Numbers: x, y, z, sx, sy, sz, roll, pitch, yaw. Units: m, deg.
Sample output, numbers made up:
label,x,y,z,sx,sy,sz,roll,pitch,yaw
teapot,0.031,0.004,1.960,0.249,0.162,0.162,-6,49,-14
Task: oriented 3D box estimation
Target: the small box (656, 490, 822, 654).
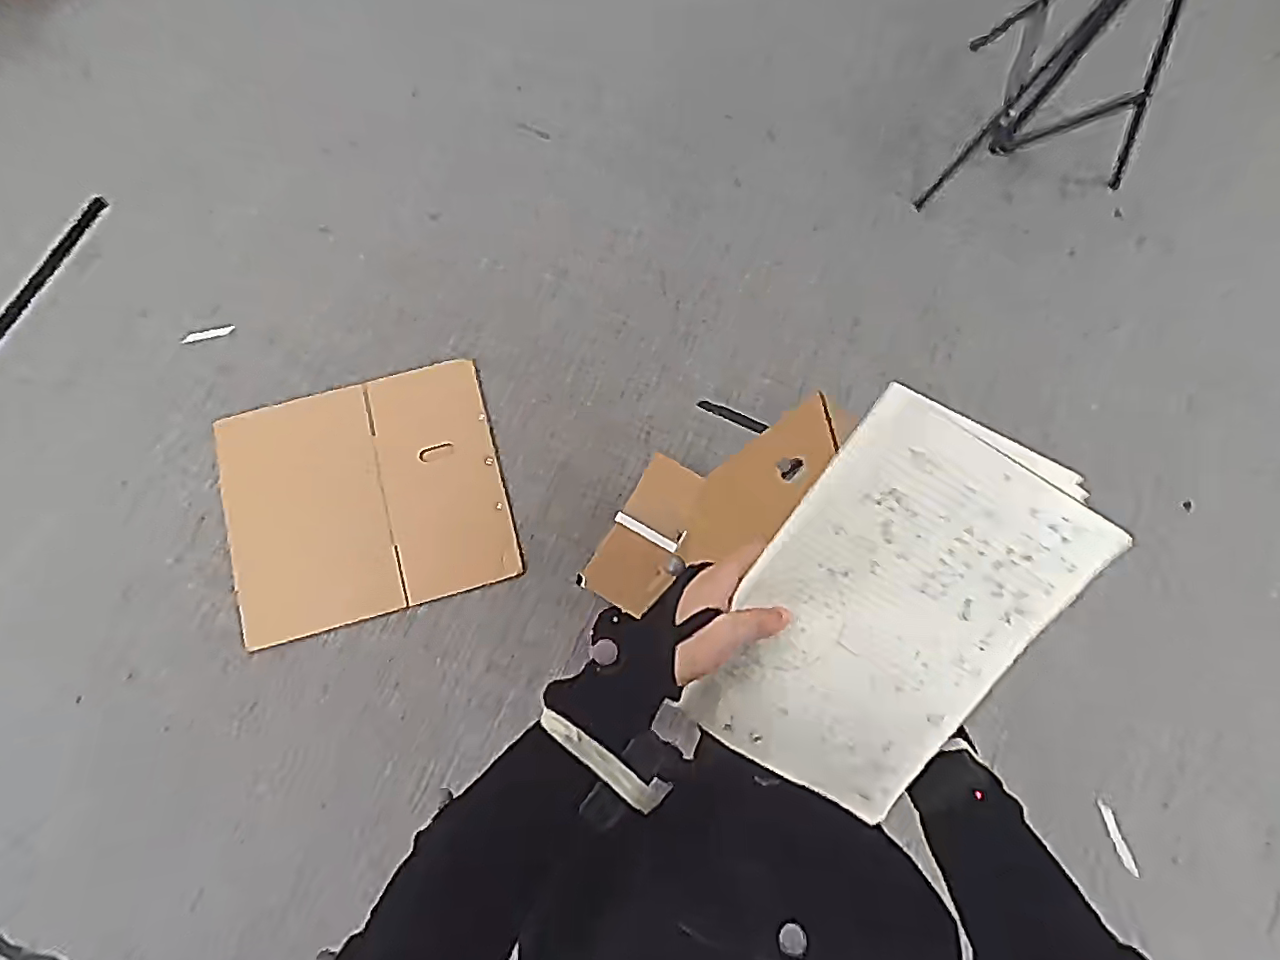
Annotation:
label,x,y,z,sx,sy,sz,roll,pitch,yaw
small box,0.138,0.136,0.816,0.179,0.176,0.168,29,80,7
